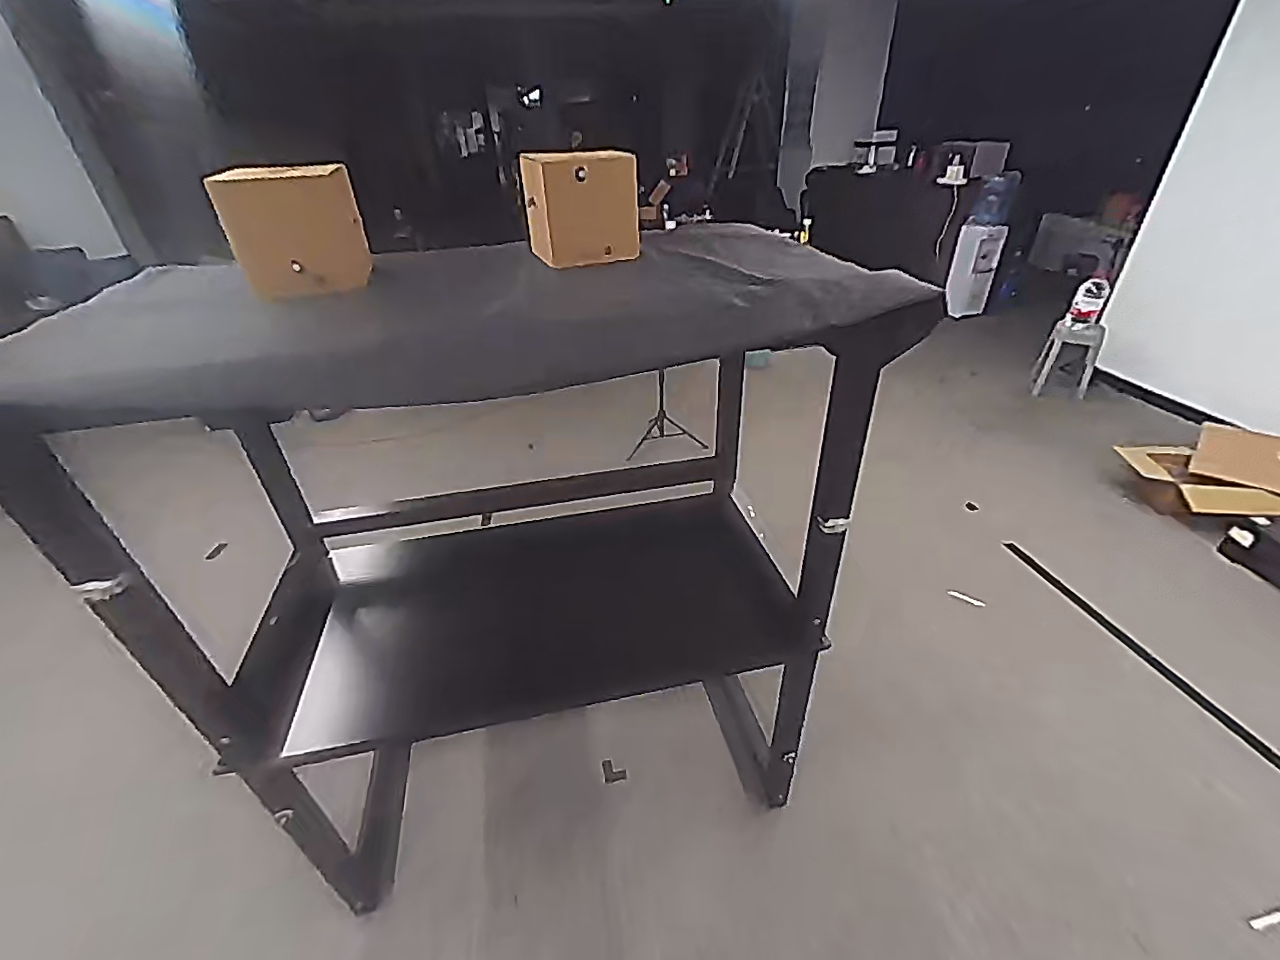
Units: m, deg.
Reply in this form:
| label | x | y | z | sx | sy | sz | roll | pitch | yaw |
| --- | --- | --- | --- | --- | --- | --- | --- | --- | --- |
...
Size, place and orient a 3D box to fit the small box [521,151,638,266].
| label | x | y | z | sx | sy | sz | roll | pitch | yaw |
| --- | --- | --- | --- | --- | --- | --- | --- | --- | --- |
| small box | -0.110 | -0.497 | 0.986 | 0.168 | 0.176 | 0.179 | -15 | 35 | -17 |
